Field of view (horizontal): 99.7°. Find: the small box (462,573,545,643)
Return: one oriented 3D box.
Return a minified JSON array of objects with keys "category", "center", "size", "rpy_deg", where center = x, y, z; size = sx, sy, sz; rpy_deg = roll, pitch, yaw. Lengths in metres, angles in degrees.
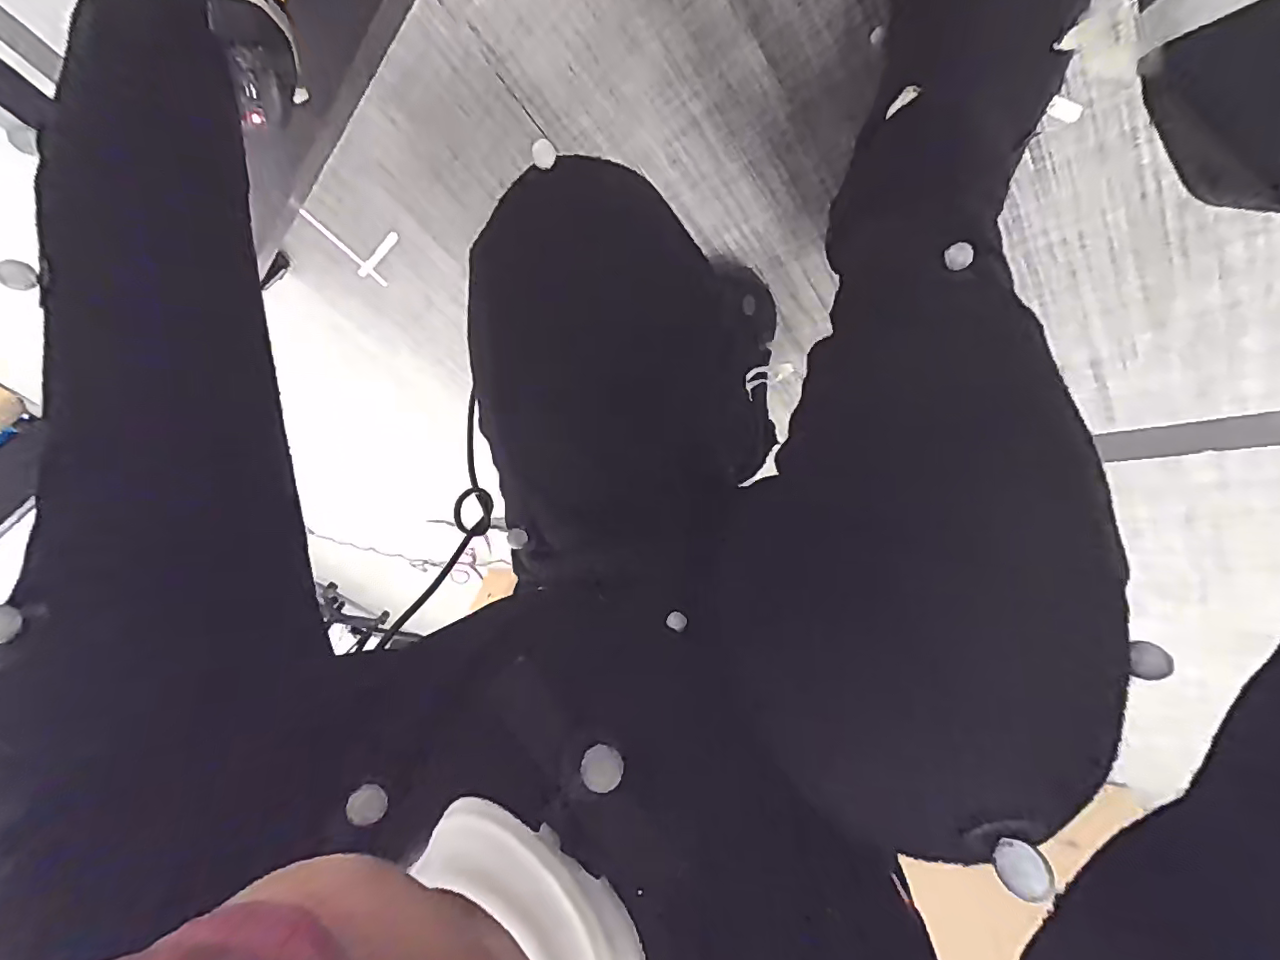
[{"category":"small box","center":[-0.440,0.415,1.766],"size":[0.179,0.176,0.168],"rpy_deg":[-13,135,44]}]
